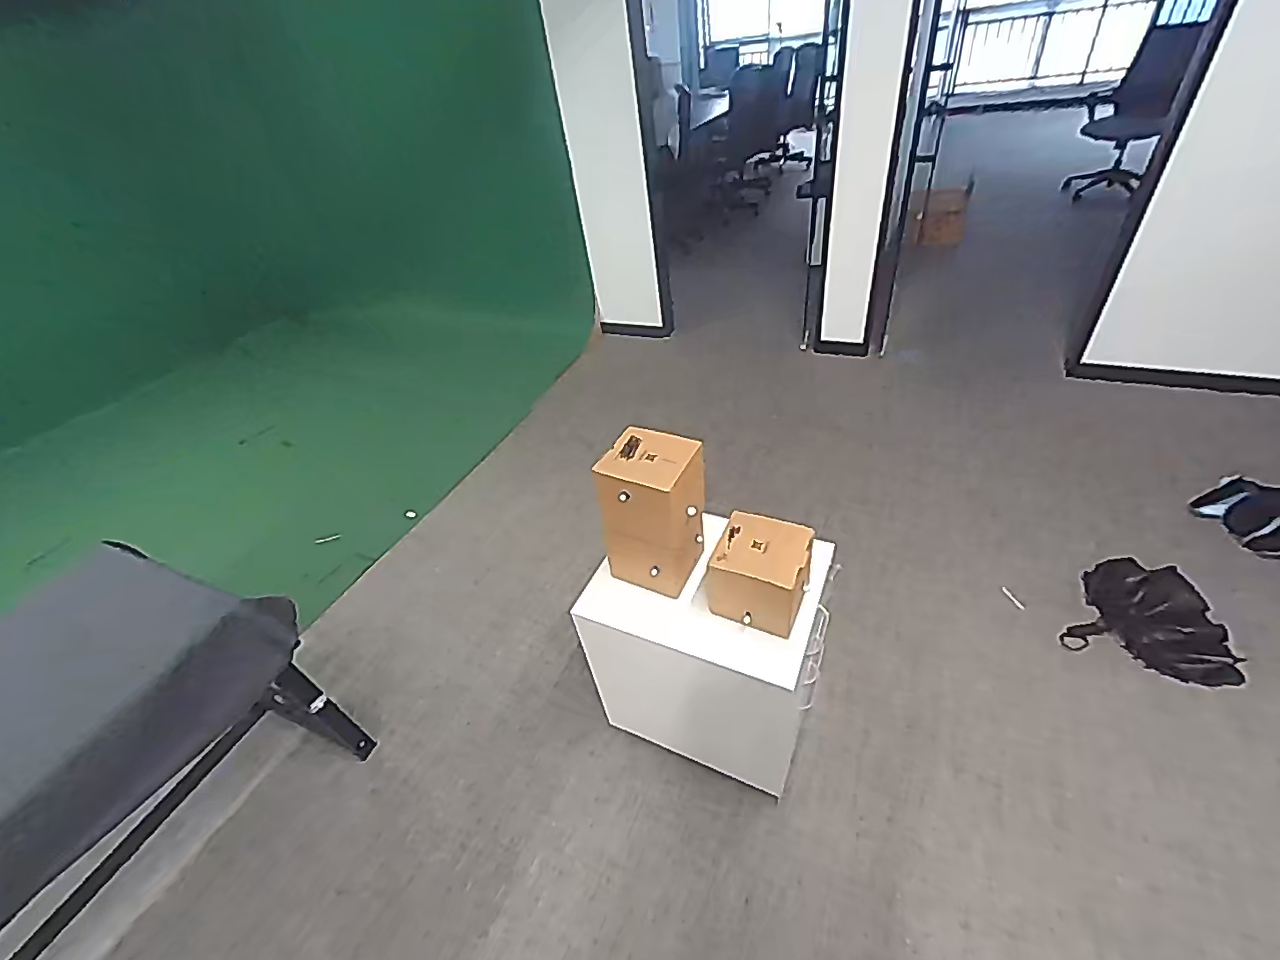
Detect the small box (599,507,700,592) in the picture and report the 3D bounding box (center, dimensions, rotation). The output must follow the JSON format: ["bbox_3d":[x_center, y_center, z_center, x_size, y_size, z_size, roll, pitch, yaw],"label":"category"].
[{"bbox_3d":[0.031,0.131,1.241,0.179,0.176,0.168,14,44,24],"label":"small box"}]

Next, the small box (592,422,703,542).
[{"bbox_3d":[0.021,0.005,1.134,0.179,0.176,0.168,16,46,23],"label":"small box"}]

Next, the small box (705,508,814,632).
[{"bbox_3d":[0.249,0.191,1.135,0.179,0.176,0.168,15,46,24],"label":"small box"}]
